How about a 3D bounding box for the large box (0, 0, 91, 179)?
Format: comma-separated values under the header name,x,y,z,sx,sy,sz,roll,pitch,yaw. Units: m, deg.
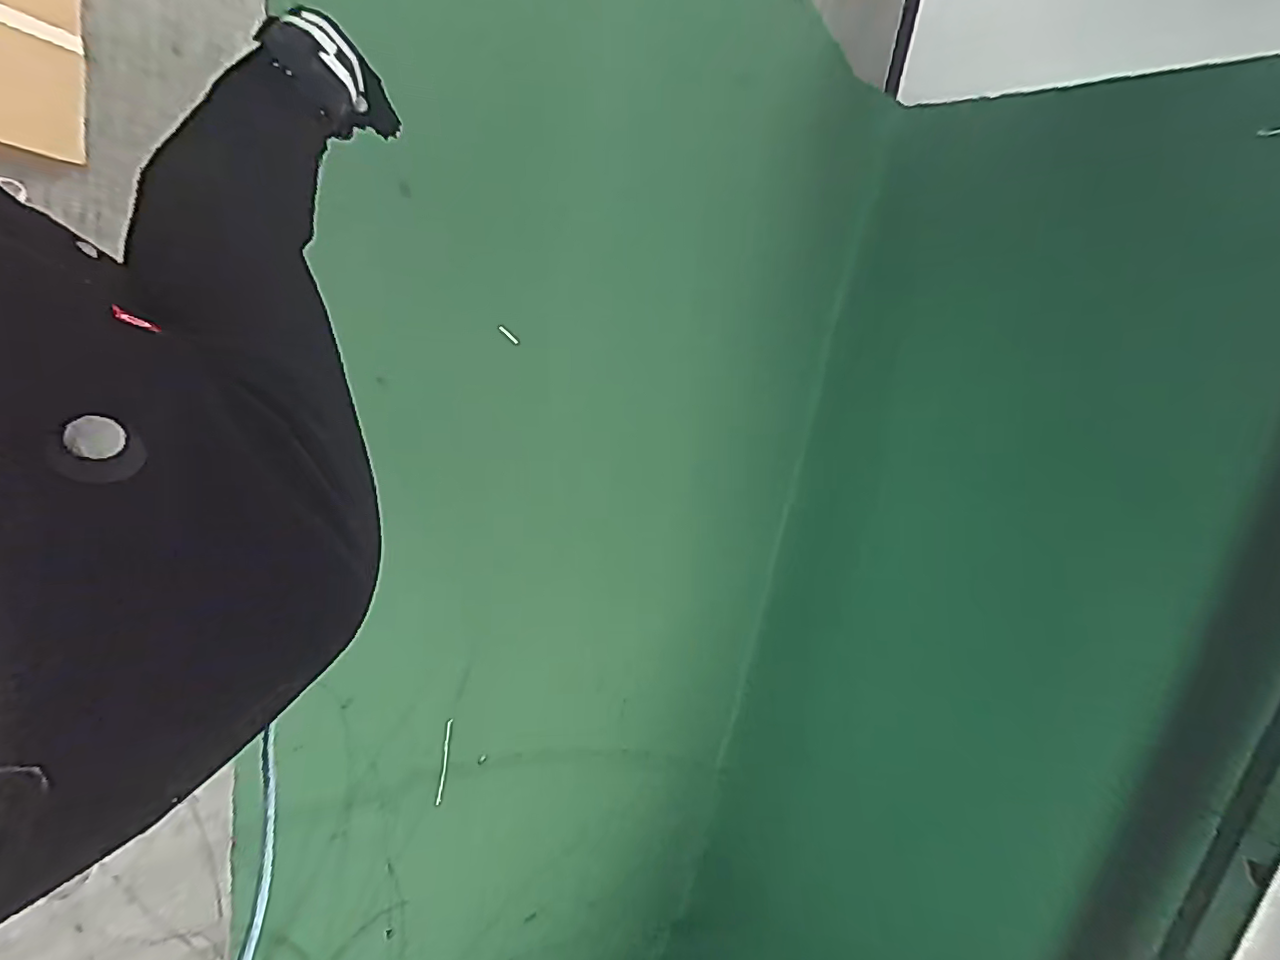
name,x,y,z,sx,sy,sz,roll,pitch,yaw
large box,-1.026,-0.641,0.704,0.408,0.320,0.320,-3,108,-51
